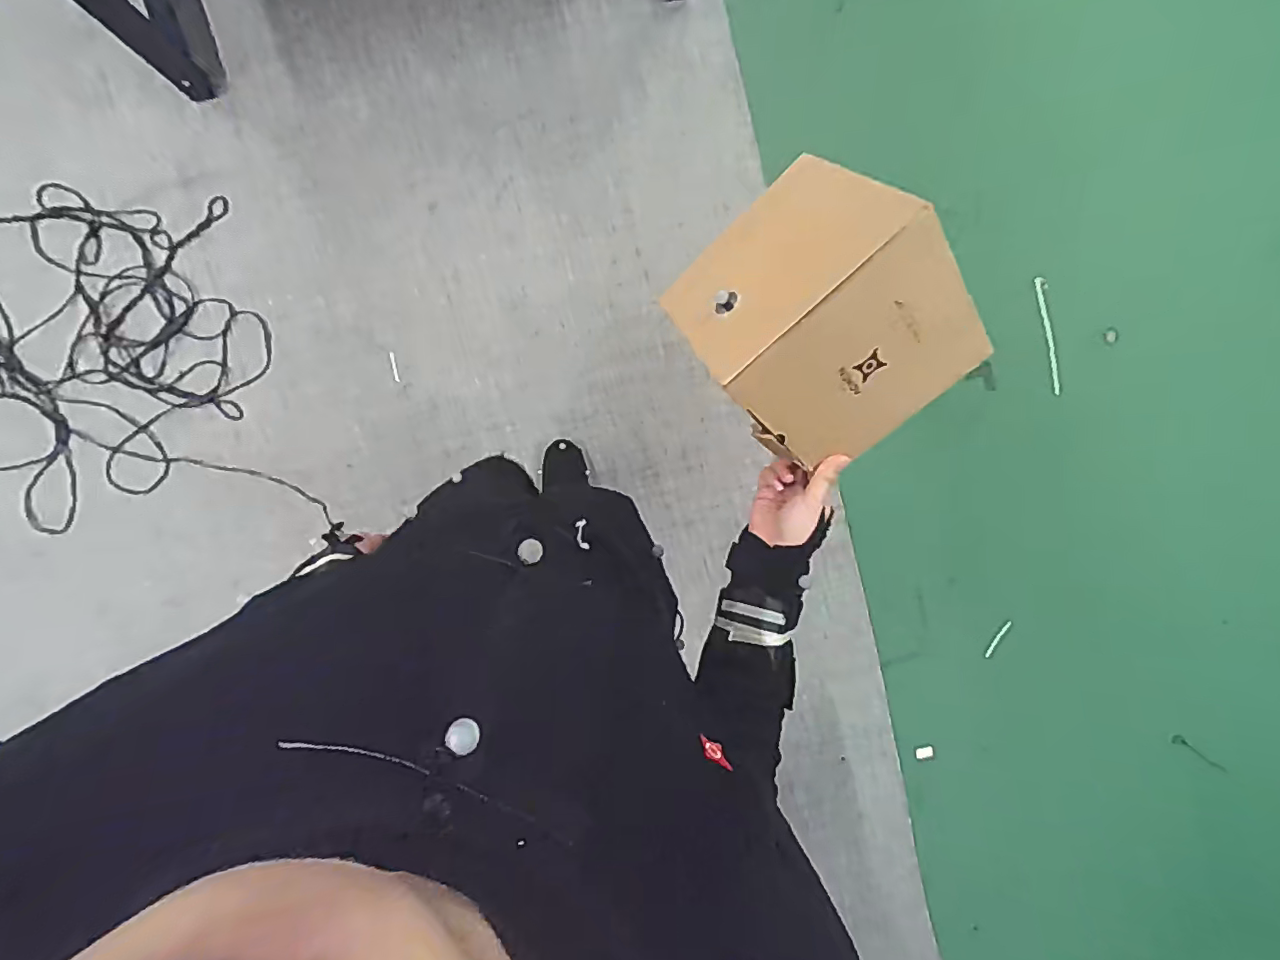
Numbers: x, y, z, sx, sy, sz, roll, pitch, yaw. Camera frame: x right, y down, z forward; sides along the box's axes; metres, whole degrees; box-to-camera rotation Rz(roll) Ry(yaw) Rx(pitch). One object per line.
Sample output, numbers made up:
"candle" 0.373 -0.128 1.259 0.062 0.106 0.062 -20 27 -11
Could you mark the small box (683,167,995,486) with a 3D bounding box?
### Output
"small box" 0.157 -0.134 0.477 0.179 0.176 0.168 -43 130 17
